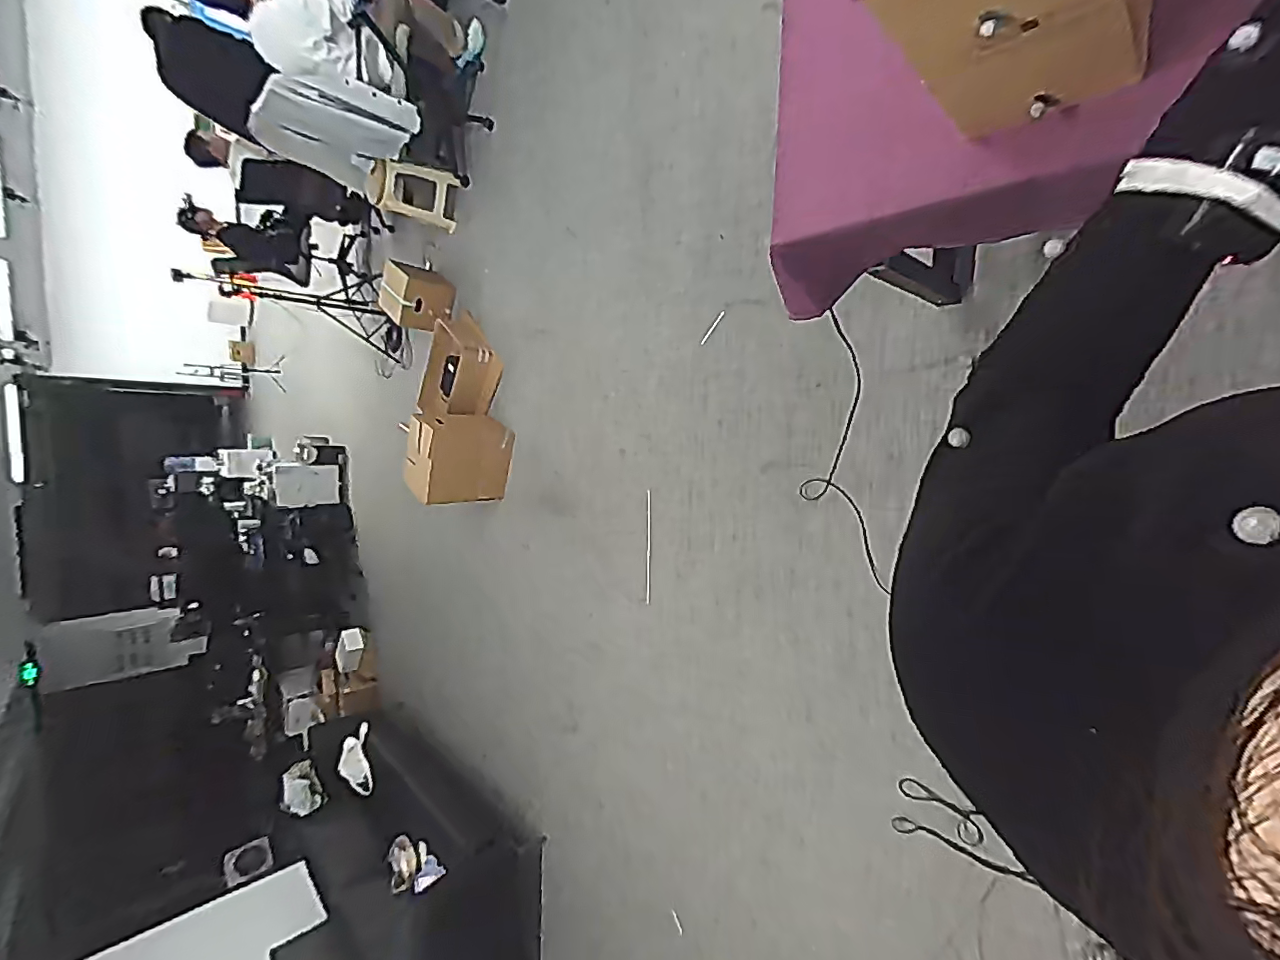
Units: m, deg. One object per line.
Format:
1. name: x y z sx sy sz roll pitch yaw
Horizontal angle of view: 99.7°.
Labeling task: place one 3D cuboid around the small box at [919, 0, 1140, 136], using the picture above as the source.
1. small box: 0.433 -0.522 0.596 0.179 0.176 0.168 5 96 46
